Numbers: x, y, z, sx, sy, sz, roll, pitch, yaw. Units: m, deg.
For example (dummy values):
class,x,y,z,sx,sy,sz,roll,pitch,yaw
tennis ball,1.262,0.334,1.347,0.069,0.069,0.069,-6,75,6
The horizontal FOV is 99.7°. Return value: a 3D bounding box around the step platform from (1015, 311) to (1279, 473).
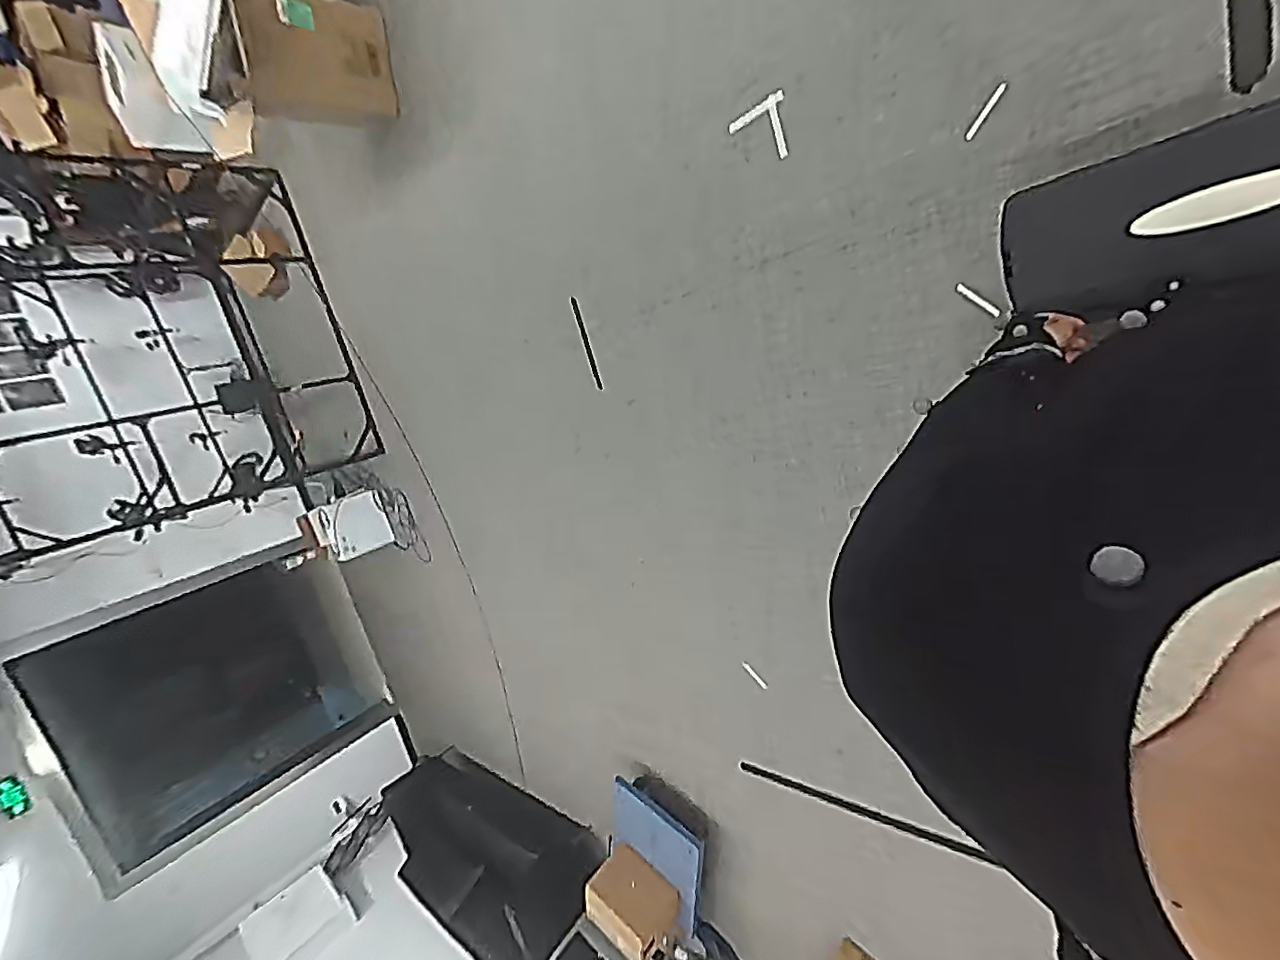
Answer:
class,x,y,z,sx,sy,sz,roll,pitch,yaw
step platform,1.107,-0.167,0.999,0.684,0.204,0.286,2,108,45
